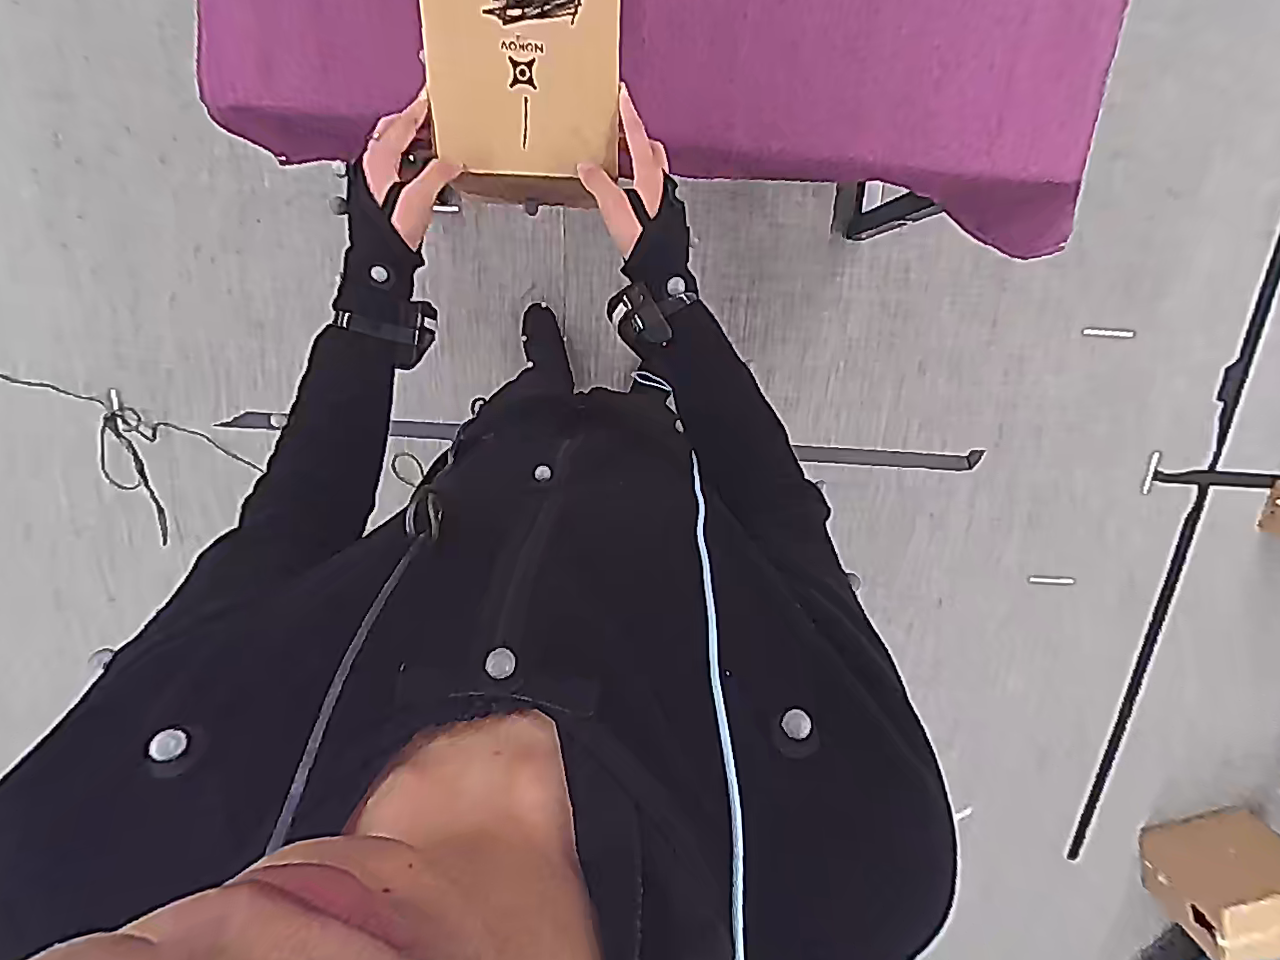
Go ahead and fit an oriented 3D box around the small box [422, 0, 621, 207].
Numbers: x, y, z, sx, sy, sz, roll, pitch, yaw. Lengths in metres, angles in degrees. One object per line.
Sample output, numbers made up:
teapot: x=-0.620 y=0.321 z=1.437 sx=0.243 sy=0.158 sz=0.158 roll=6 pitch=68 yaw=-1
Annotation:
small box: x=-0.109 y=-0.384 z=0.535 sx=0.168 sy=0.176 sz=0.179 roll=0 pitch=109 yaw=-6
